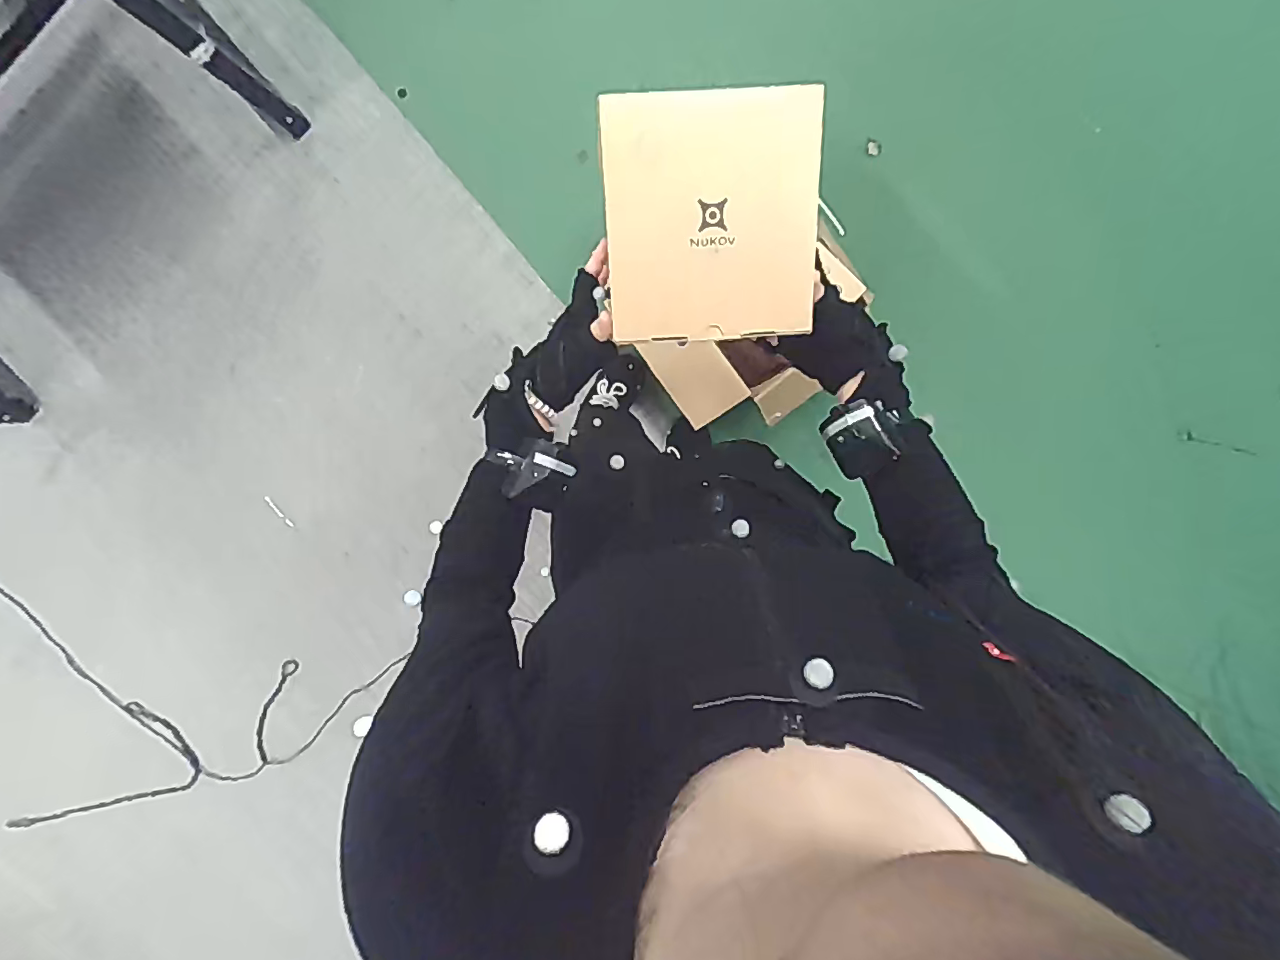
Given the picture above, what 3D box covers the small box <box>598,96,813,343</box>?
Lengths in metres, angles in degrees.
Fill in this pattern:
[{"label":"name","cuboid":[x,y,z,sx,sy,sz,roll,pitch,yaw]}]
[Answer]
[{"label":"small box","cuboid":[0.047,-0.225,0.502,0.168,0.176,0.179,-4,109,-2]}]
